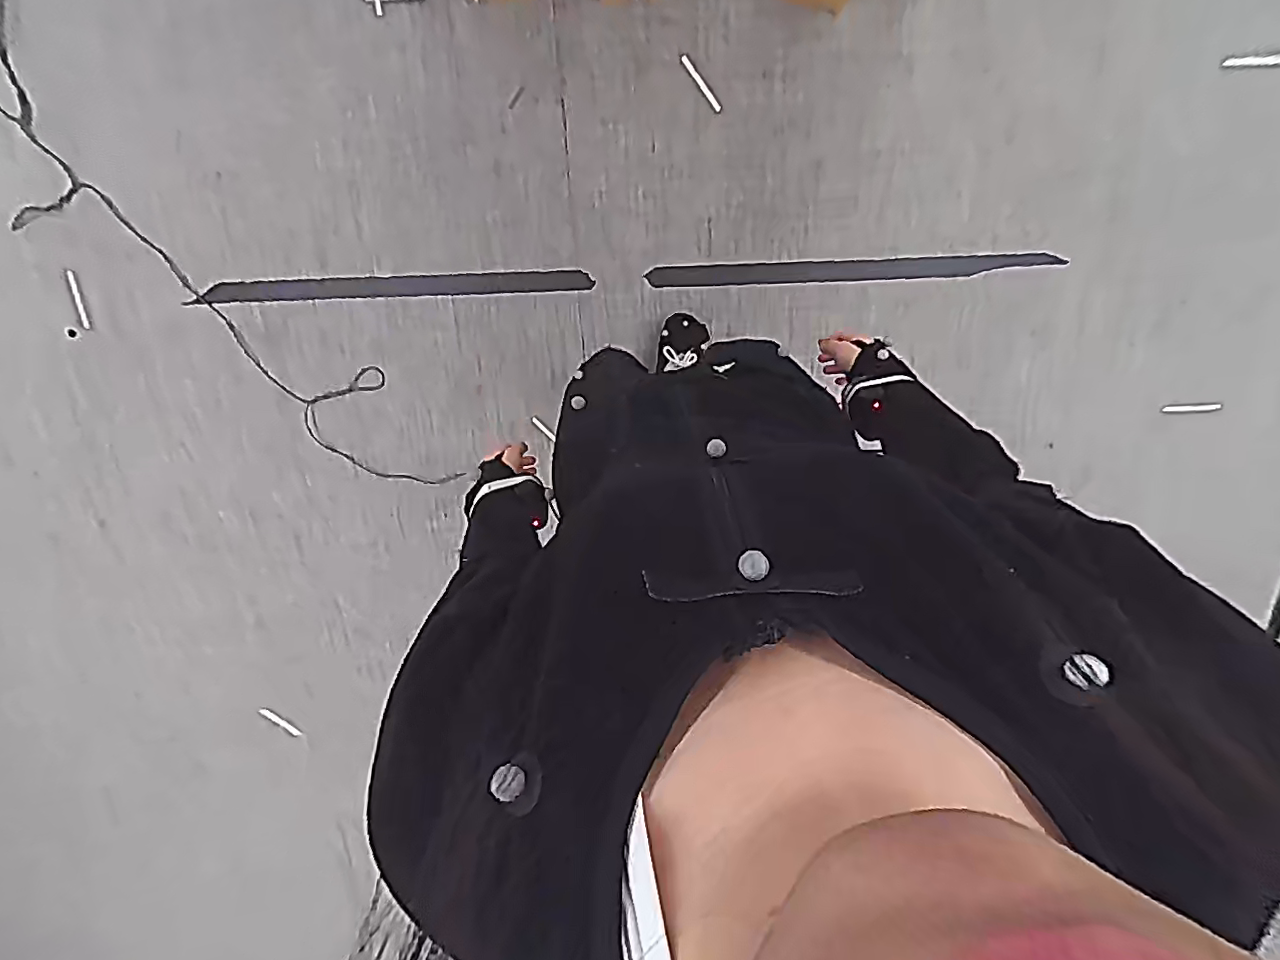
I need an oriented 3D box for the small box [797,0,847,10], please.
[{"bbox_3d":[0.385,-1.108,1.099,0.179,0.176,0.168,14,107,-3],"label":"small box"}]
